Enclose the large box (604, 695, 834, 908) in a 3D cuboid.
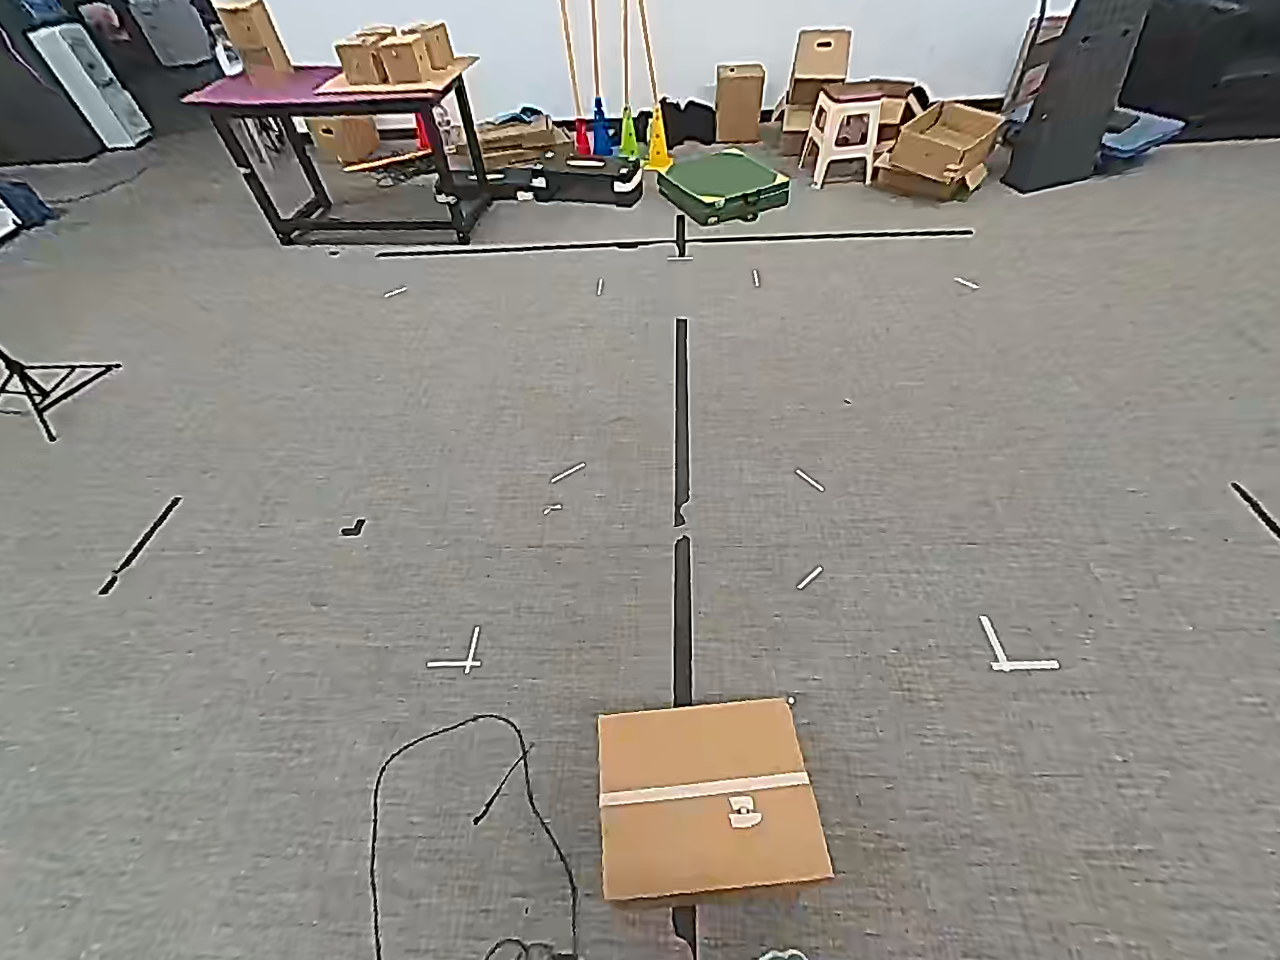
[{"bbox_3d":[0.140,0.690,1.157,0.408,0.320,0.320,-5,49,-1],"label":"large box"}]
